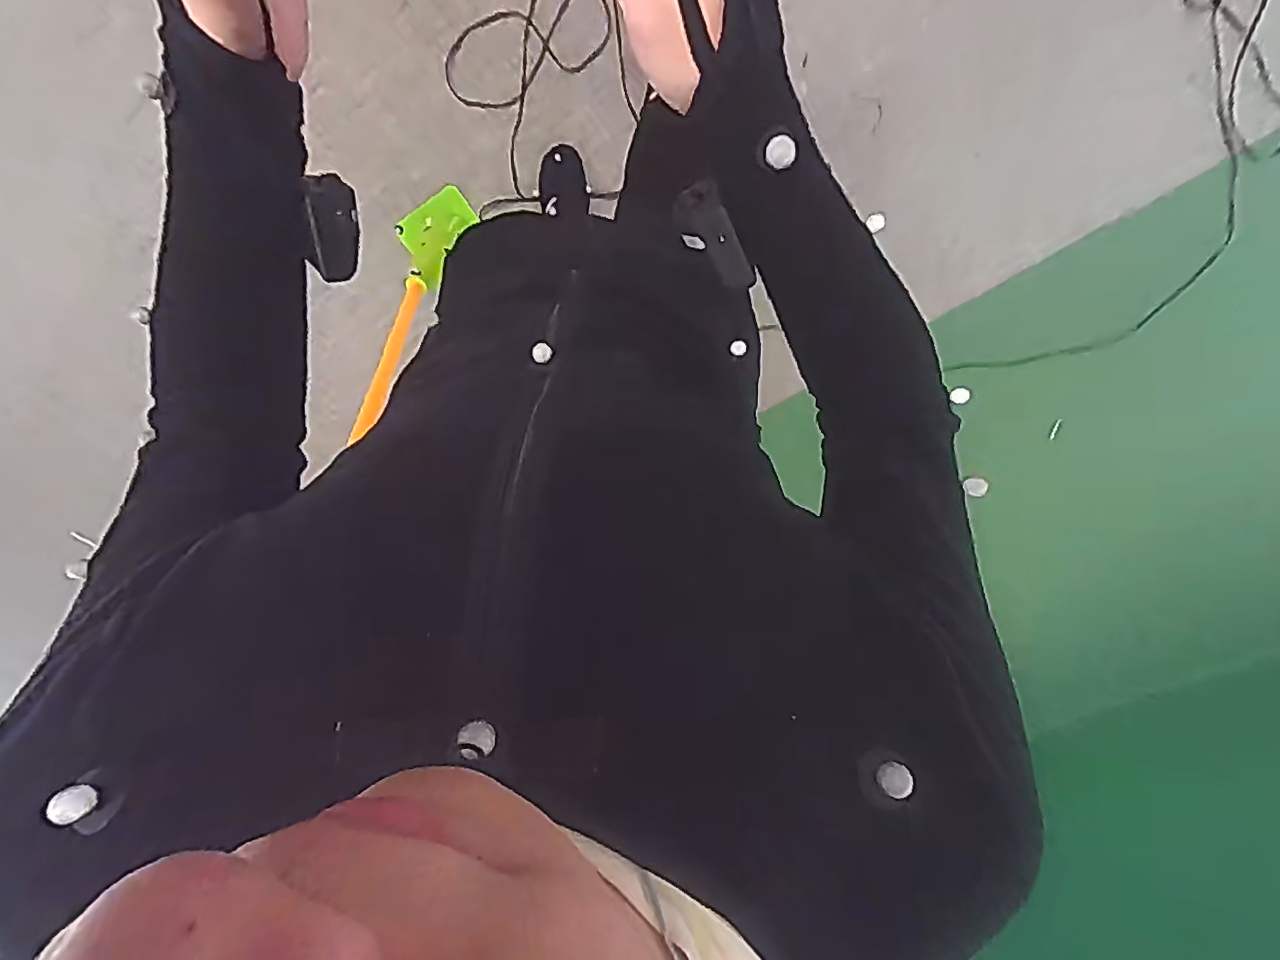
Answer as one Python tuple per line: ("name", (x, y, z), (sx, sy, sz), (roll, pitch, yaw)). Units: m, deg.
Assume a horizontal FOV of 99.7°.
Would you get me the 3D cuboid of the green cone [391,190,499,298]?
("green cone", (-0.466, -0.482, 1.218), (0.202, 0.368, 0.200), (-28, 126, 13))
